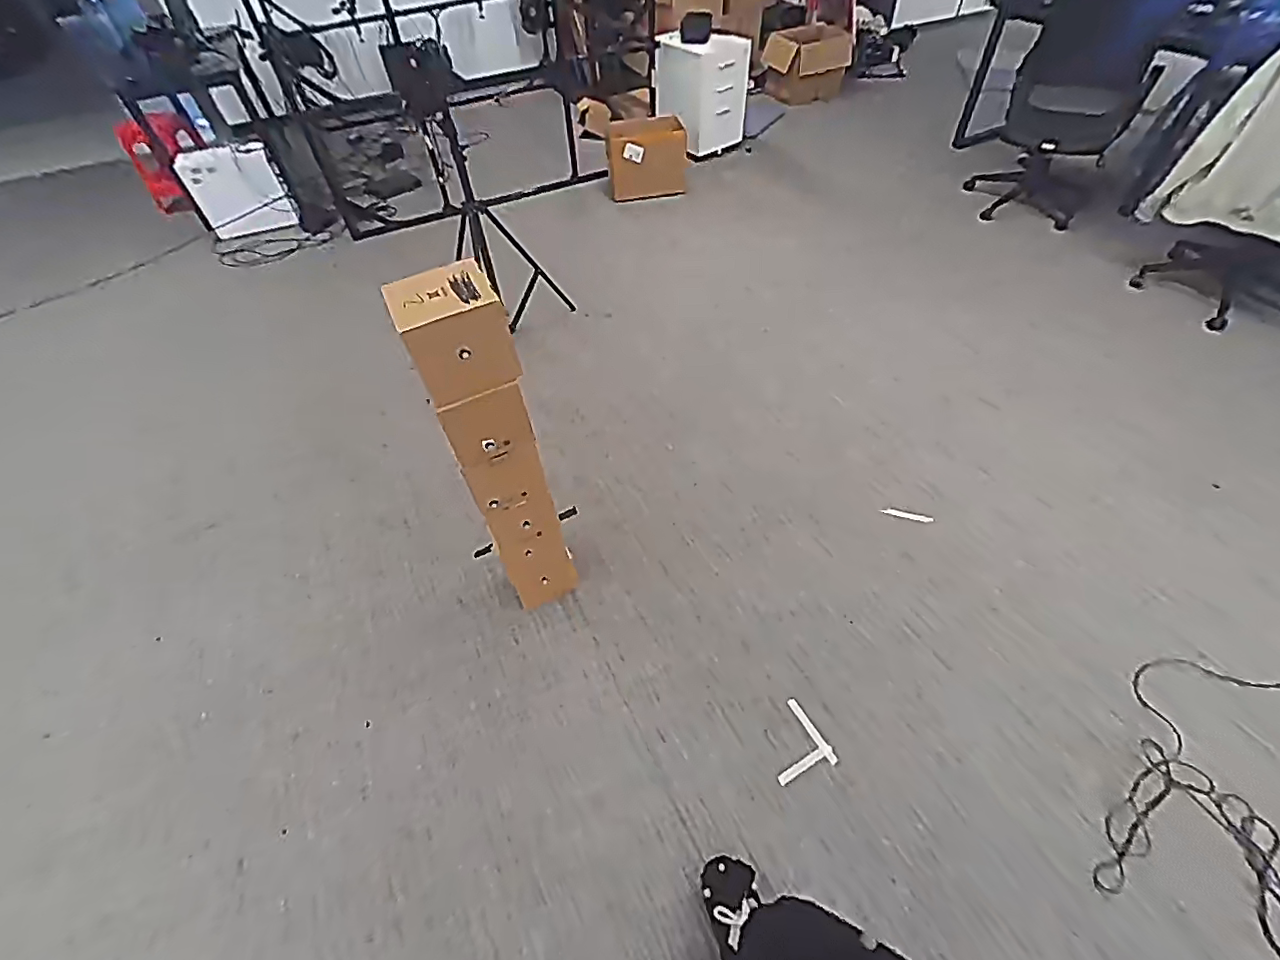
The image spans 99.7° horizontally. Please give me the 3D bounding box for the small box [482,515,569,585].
[{"bbox_3d":[-0.312,0.163,1.490,0.179,0.176,0.168,-21,53,-13],"label":"small box"}]

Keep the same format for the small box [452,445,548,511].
[{"bbox_3d":[-0.325,-0.050,1.241,0.168,0.176,0.179,-22,52,-14],"label":"small box"}]

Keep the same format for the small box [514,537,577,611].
[{"bbox_3d":[-0.299,0.262,1.621,0.179,0.176,0.168,-23,53,-15],"label":"small box"}]

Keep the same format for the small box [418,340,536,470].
[{"bbox_3d":[-0.331,-0.153,1.117,0.168,0.176,0.179,-25,54,-14],"label":"small box"}]

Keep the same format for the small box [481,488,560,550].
[{"bbox_3d":[-0.313,0.055,1.368,0.168,0.176,0.179,-22,53,-13],"label":"small box"}]
